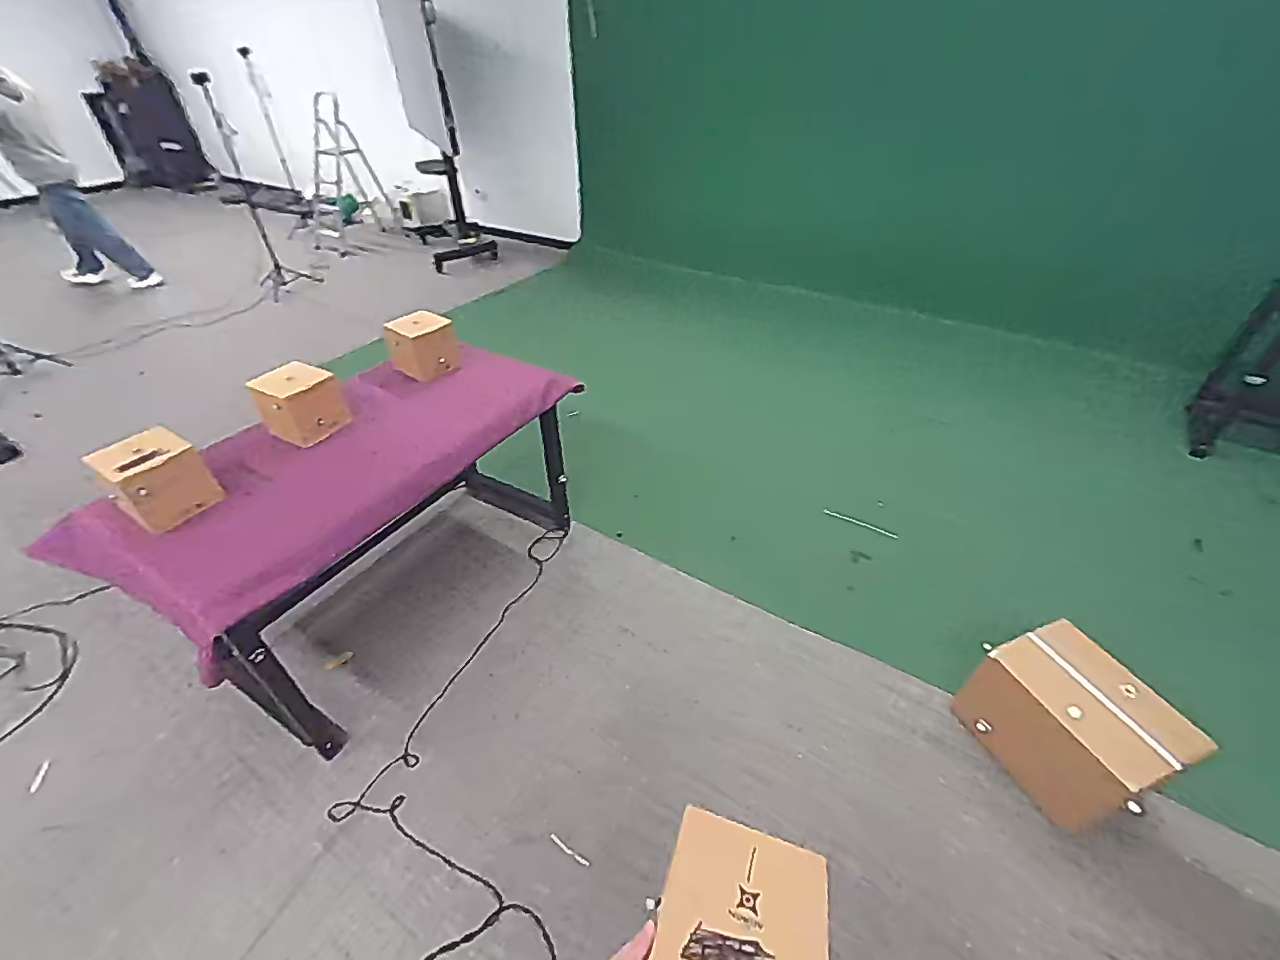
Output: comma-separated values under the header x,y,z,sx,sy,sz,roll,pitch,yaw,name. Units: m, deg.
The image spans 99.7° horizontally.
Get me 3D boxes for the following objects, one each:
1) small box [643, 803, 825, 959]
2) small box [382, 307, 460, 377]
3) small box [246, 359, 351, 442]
x,y,z,sx,sy,sz,roll,pitch,yaw,name
0.095,0.506,0.584,0.168,0.176,0.179,14,25,11,small box
-0.757,-0.479,1.884,0.179,0.176,0.168,27,48,27,small box
-0.999,-0.233,1.592,0.179,0.176,0.168,19,43,20,small box
